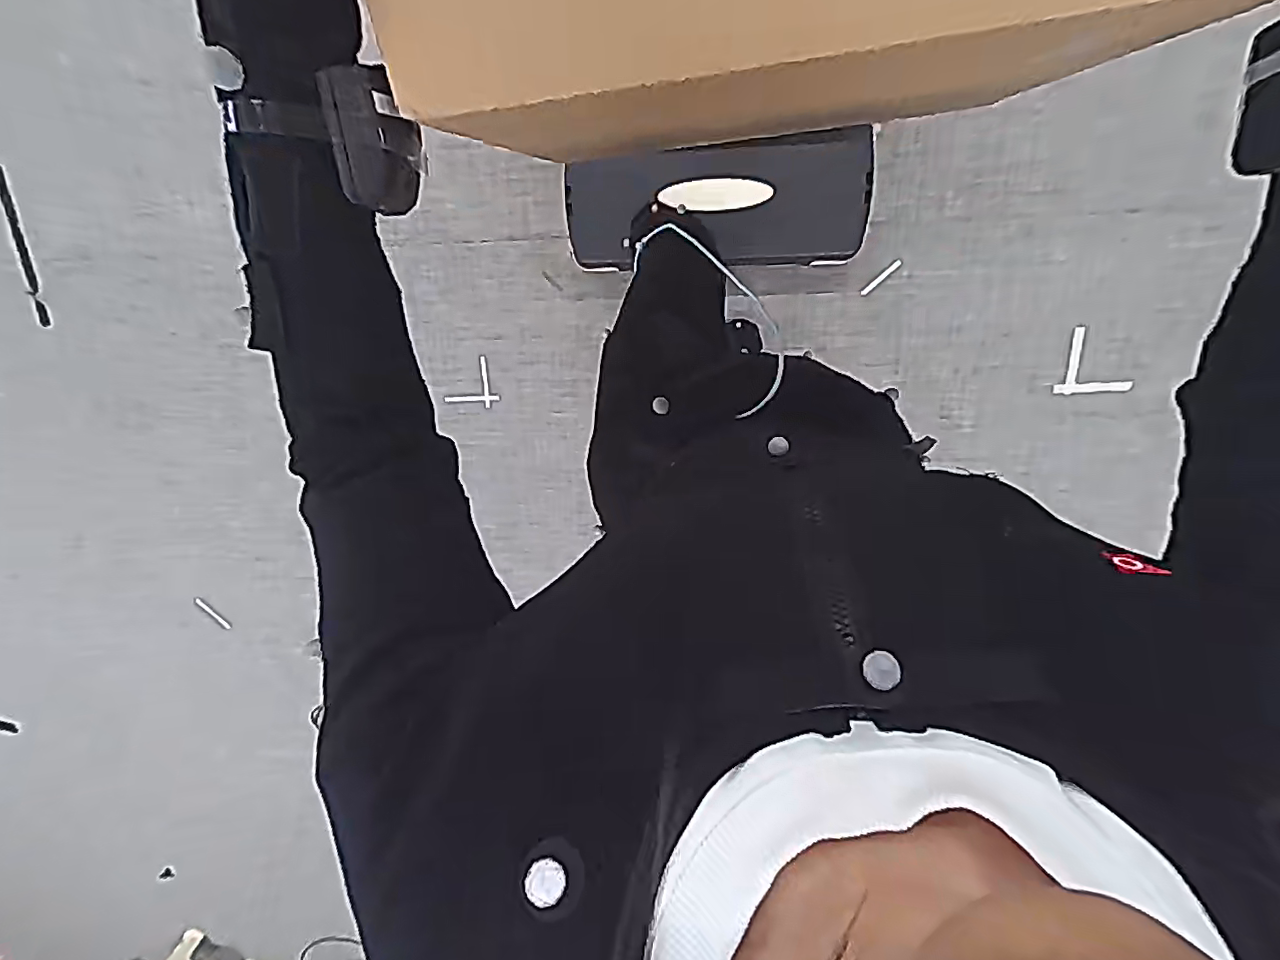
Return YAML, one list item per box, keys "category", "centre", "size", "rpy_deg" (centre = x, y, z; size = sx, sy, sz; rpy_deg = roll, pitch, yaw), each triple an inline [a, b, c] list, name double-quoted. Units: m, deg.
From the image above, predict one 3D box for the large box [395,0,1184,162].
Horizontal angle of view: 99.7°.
- category: "large box"
  centre: [0.077, -0.402, 0.315]
  size: [0.408, 0.320, 0.320]
  rpy_deg: [-4, 117, 8]
